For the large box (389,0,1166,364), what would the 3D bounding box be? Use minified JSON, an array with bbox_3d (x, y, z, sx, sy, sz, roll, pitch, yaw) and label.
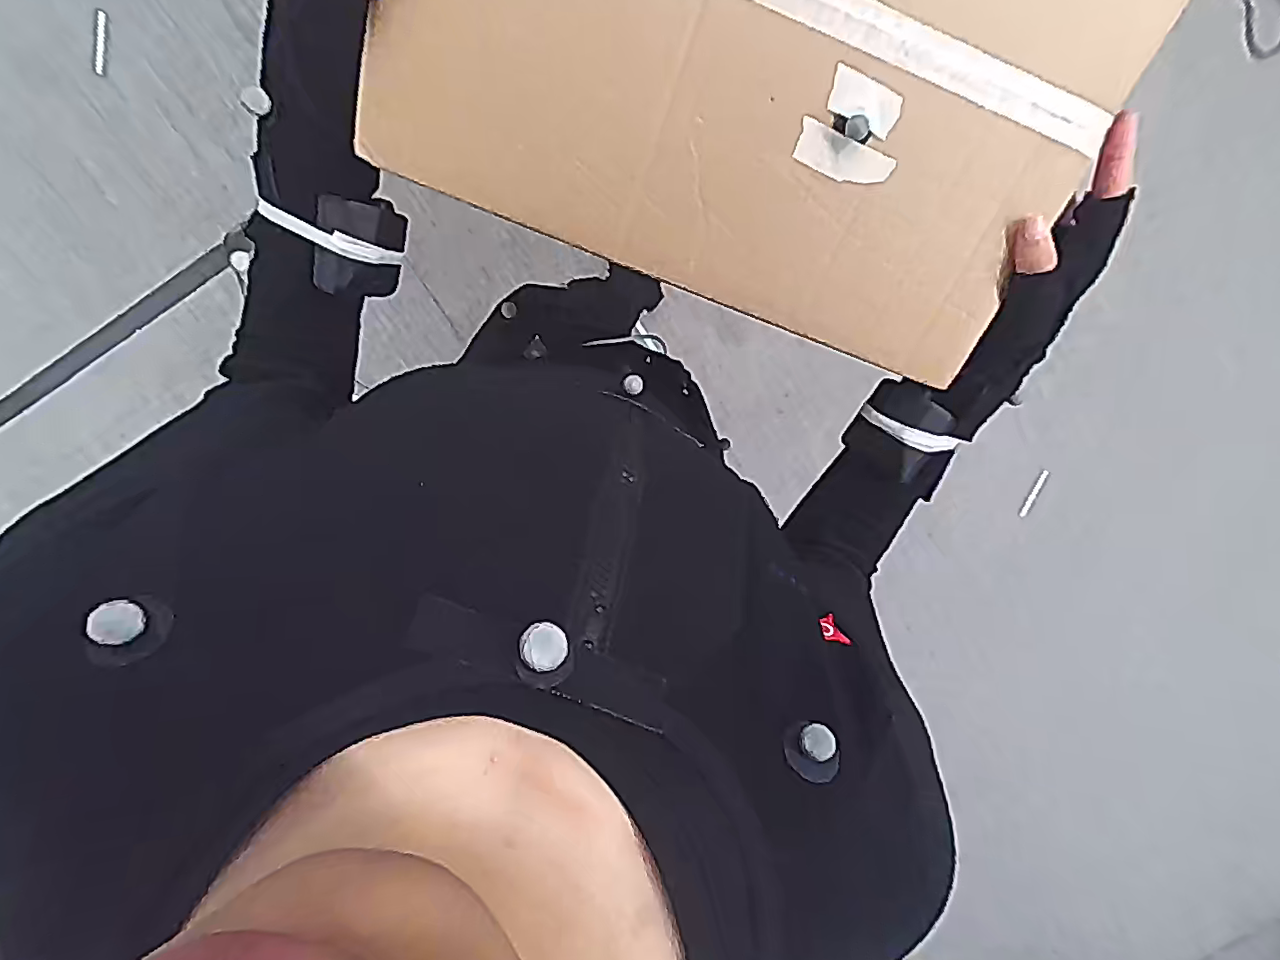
[{"bbox_3d":[0.080,-0.334,0.433,0.408,0.320,0.320,19,115,-8],"label":"large box"}]
